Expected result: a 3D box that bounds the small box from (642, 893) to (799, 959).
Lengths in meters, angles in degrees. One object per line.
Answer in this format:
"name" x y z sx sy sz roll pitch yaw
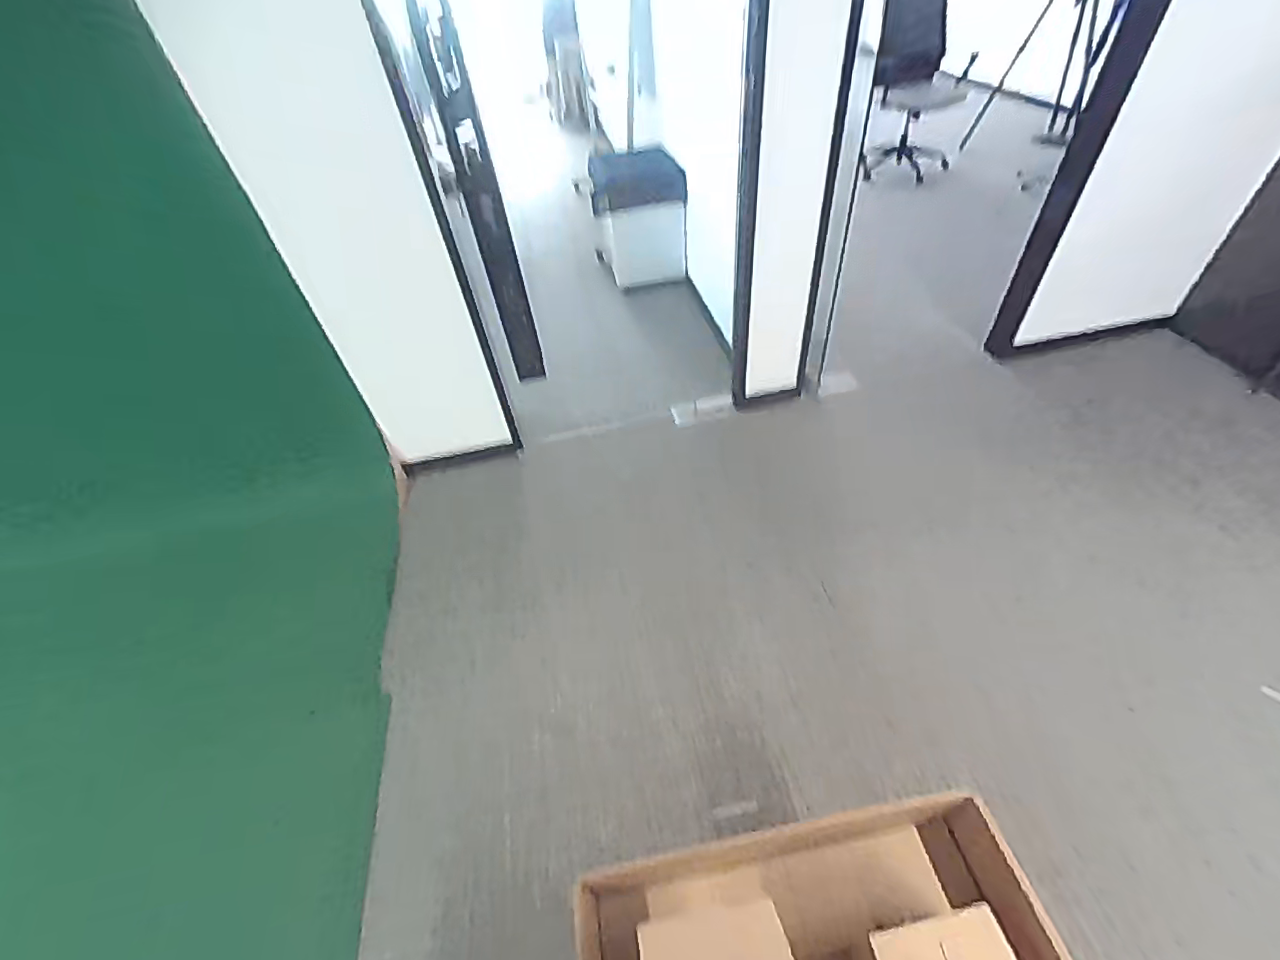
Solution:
"small box" 0.099 0.599 0.574 0.168 0.176 0.179 -8 17 -5
